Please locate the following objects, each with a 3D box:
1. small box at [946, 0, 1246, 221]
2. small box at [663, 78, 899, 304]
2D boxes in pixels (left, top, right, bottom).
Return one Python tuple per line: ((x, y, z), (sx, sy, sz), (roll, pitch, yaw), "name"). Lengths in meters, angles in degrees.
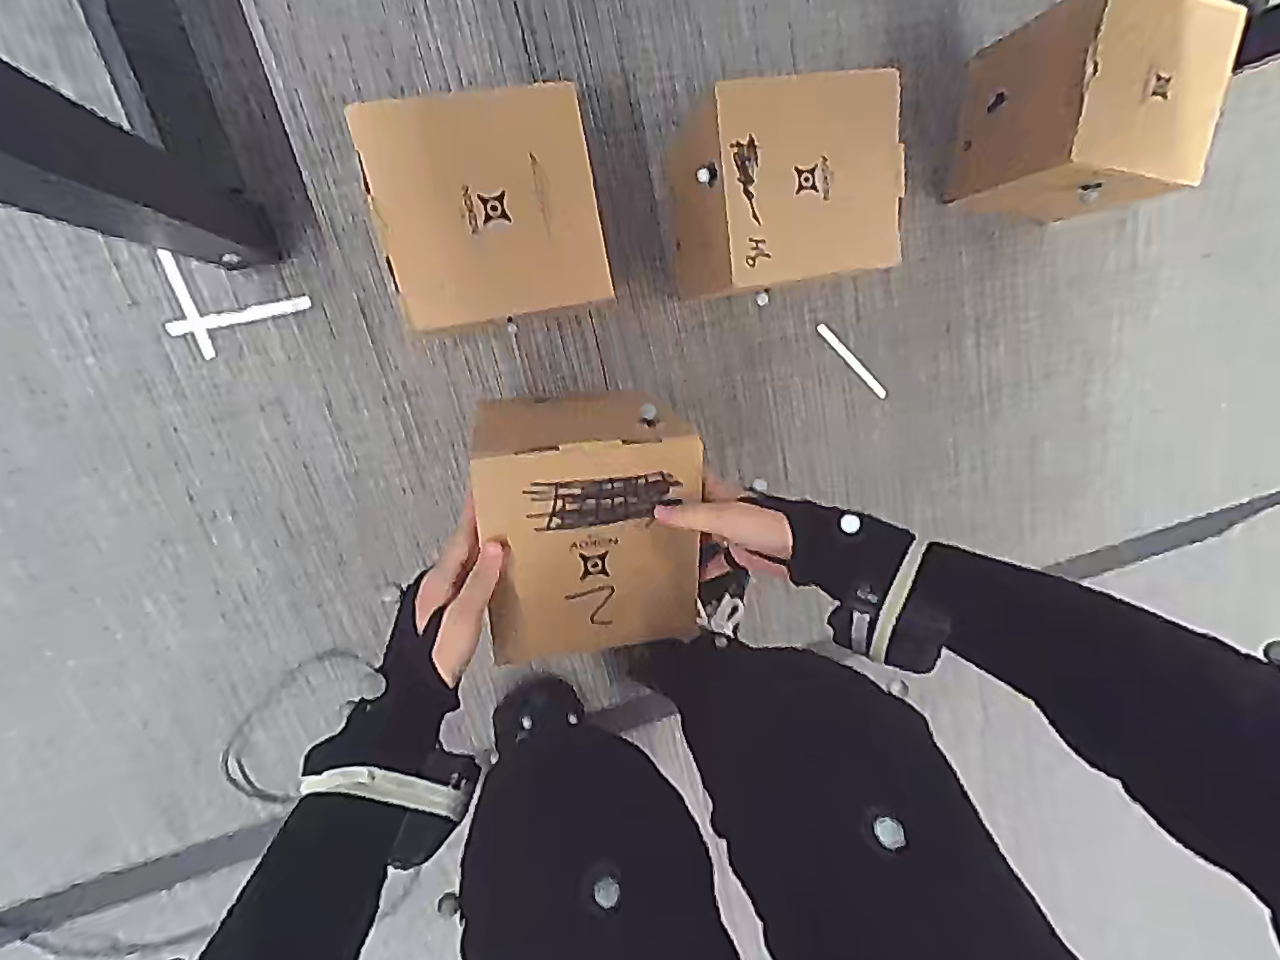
((0.492, -0.404, 0.610), (0.179, 0.176, 0.168), (2, 103, -12), "small box")
((0.136, -0.280, 0.557), (0.179, 0.176, 0.168), (-11, 106, -10), "small box")
